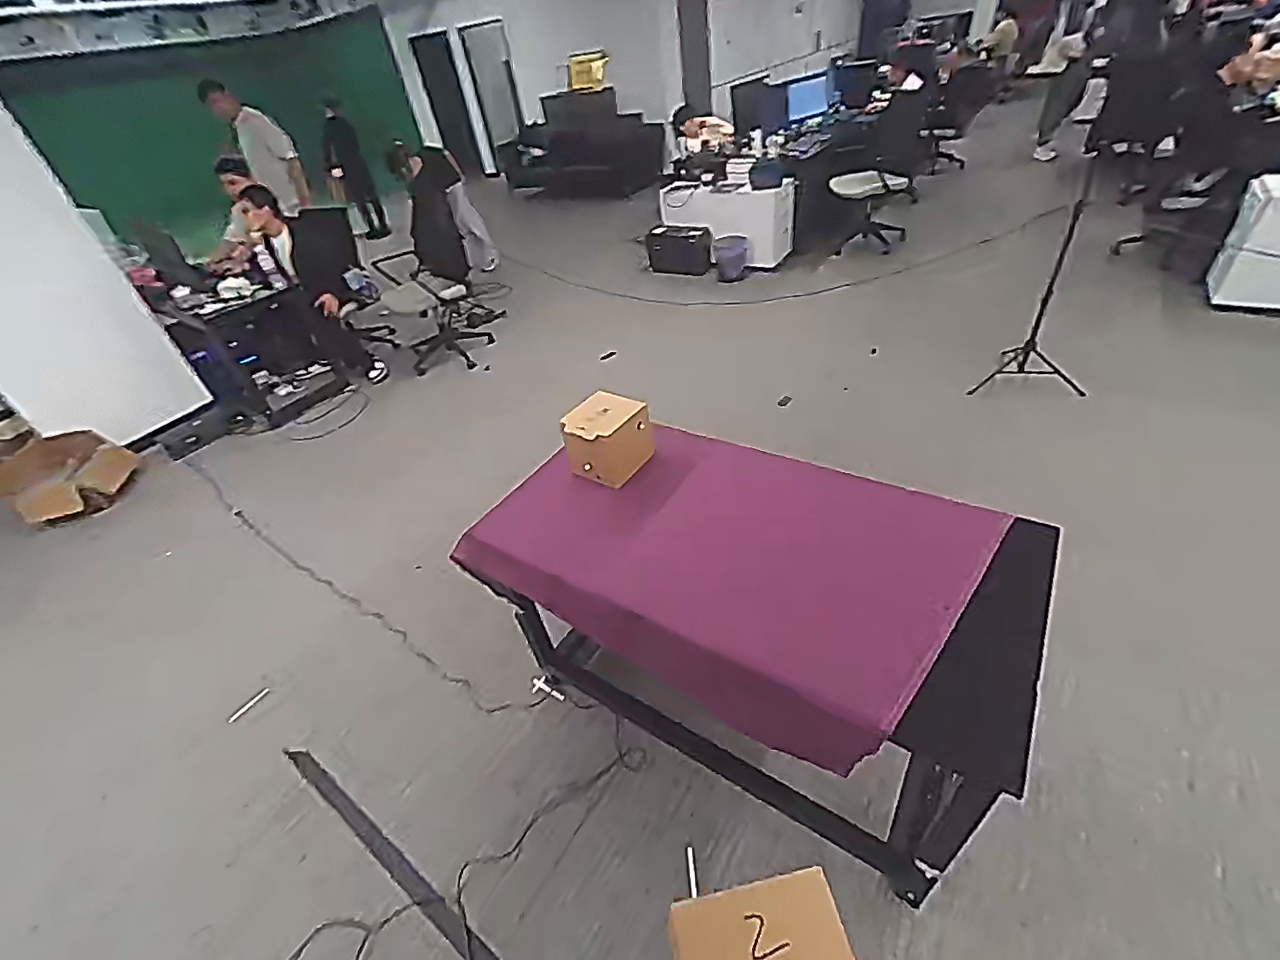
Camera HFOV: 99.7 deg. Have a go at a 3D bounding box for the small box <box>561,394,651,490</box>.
[{"bbox_3d":[-0.084,-0.104,1.456,0.168,0.176,0.179,19,48,31],"label":"small box"}]
